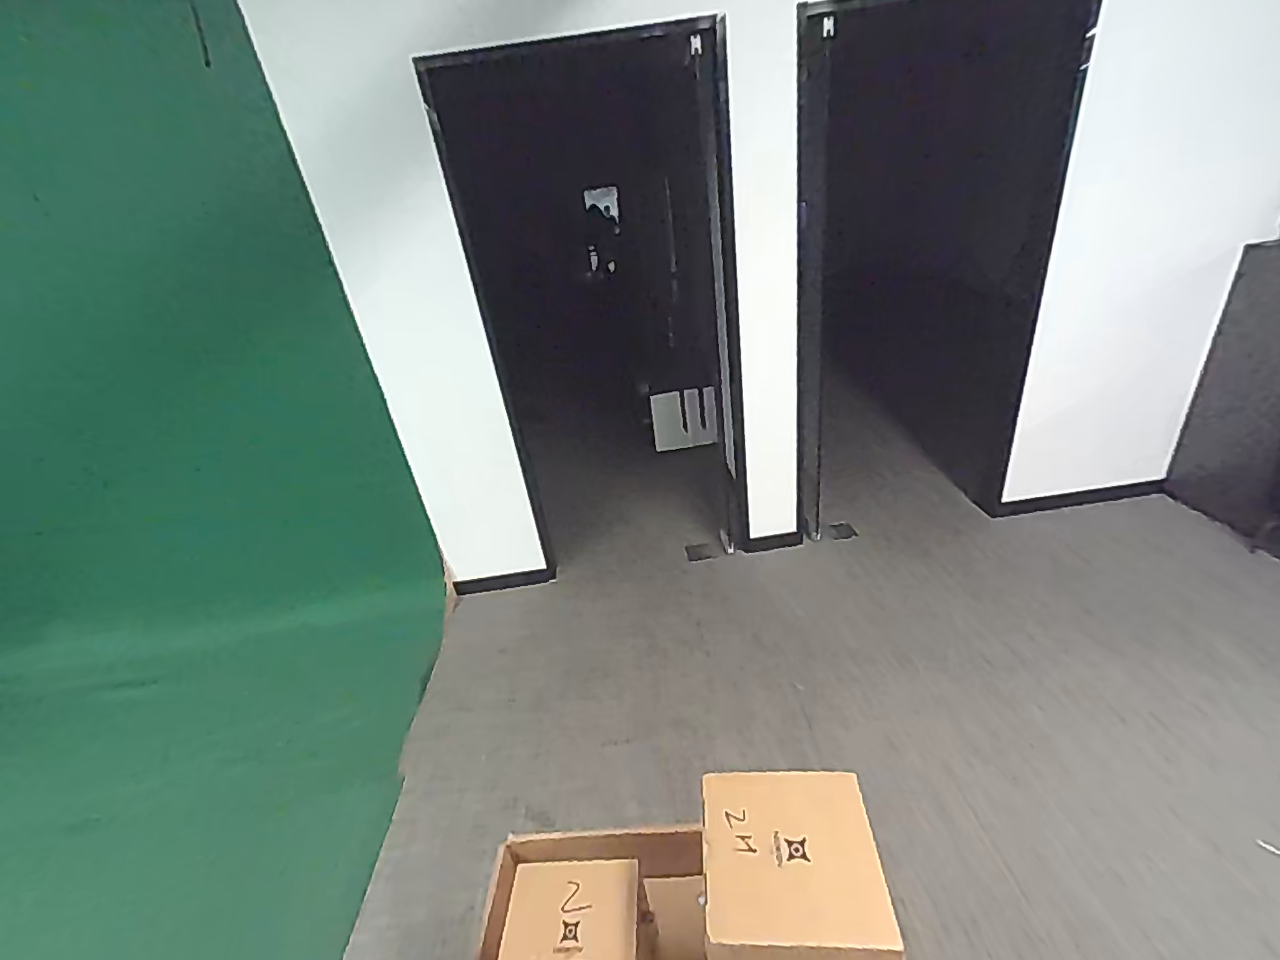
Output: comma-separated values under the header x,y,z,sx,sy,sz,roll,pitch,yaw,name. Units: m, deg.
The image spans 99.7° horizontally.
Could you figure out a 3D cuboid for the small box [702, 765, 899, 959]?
x,y,z,sx,sy,sz,roll,pitch,yaw,name
0.163,0.441,0.593,0.179,0.176,0.168,-6,28,9,small box
